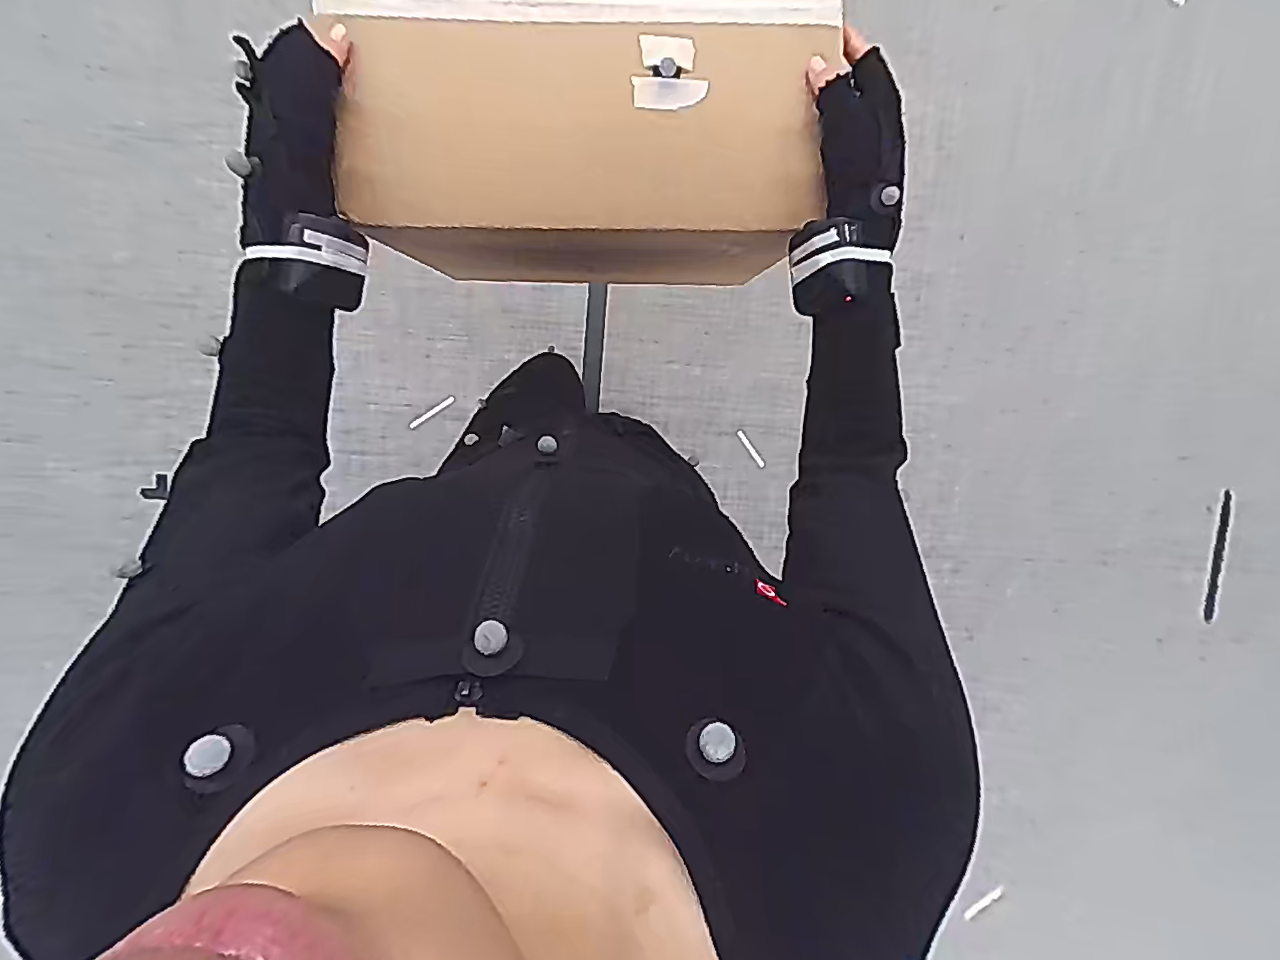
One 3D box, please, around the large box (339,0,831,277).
[{"bbox_3d":[-0.050,-0.406,0.581,0.408,0.320,0.320,-1,103,-3],"label":"large box"}]
